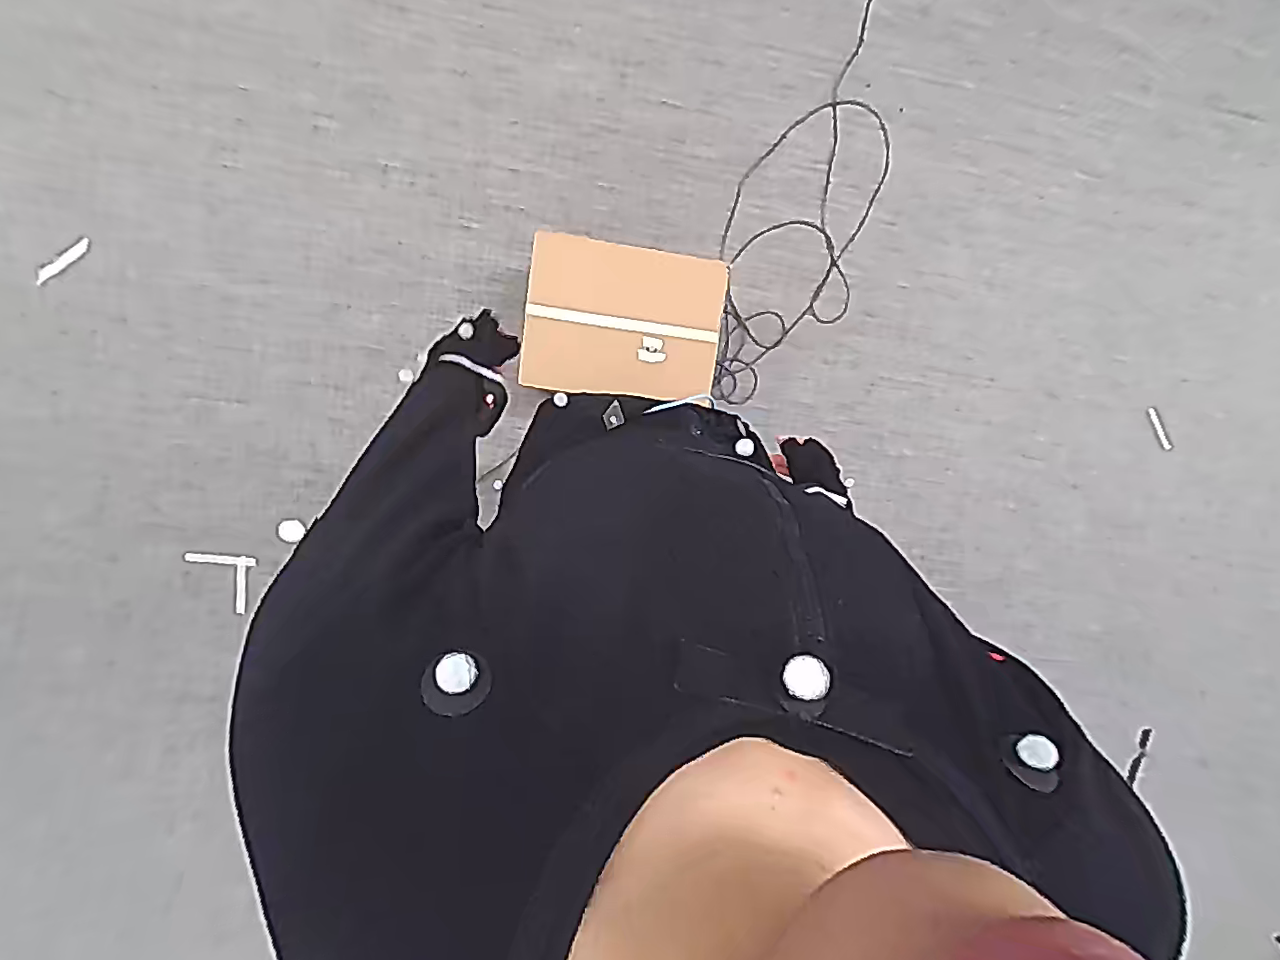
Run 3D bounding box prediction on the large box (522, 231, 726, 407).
[{"bbox_3d":[-0.046,-0.352,1.278,0.408,0.320,0.320,8,98,-5],"label":"large box"}]
